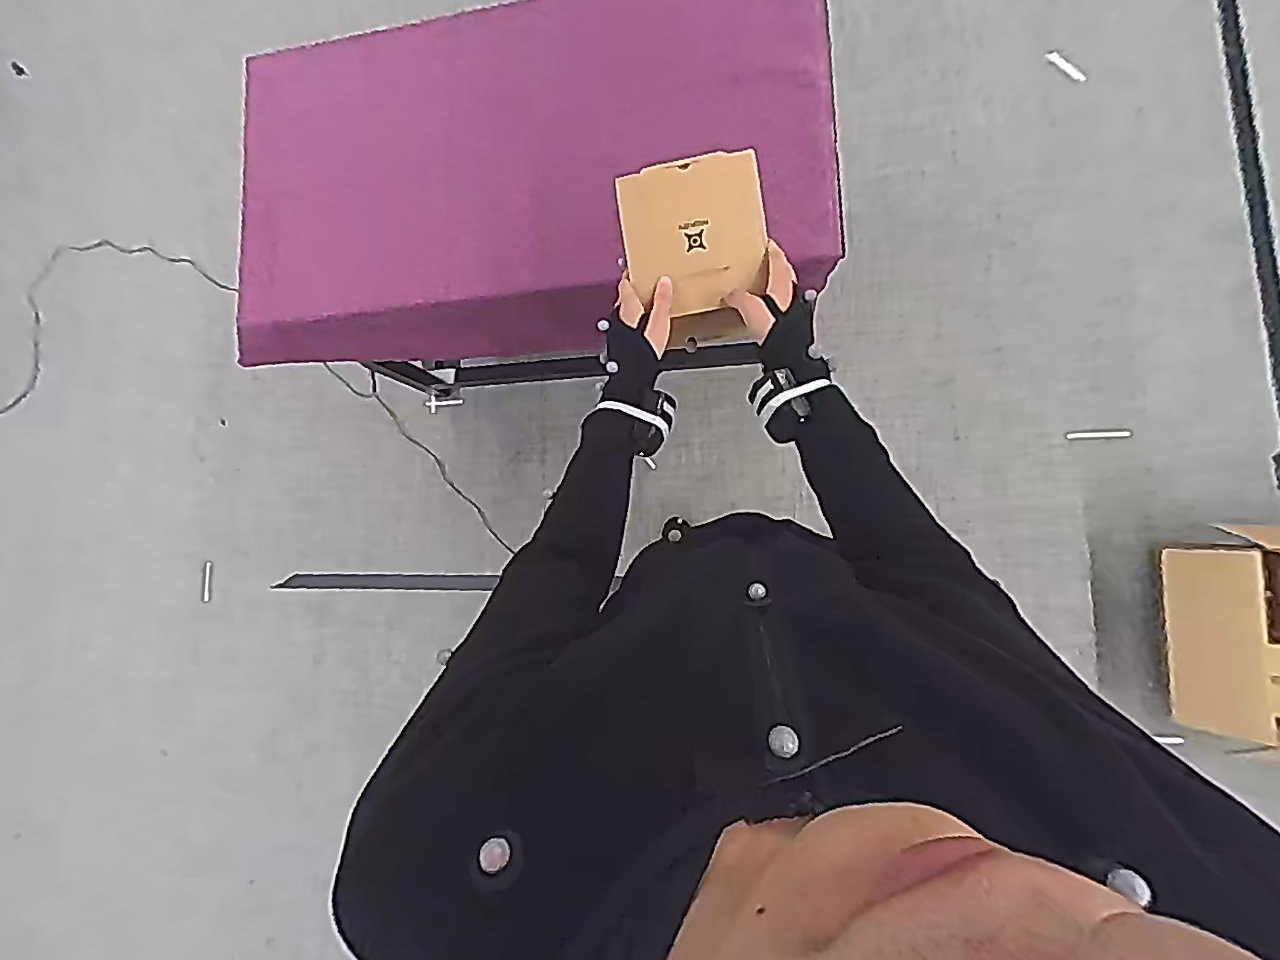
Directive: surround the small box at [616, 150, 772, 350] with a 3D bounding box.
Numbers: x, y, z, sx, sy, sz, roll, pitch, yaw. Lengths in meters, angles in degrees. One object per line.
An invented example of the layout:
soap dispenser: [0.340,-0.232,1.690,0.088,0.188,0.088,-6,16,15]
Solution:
small box: [0.068,-0.286,0.708,0.168,0.176,0.179,-8,90,5]
